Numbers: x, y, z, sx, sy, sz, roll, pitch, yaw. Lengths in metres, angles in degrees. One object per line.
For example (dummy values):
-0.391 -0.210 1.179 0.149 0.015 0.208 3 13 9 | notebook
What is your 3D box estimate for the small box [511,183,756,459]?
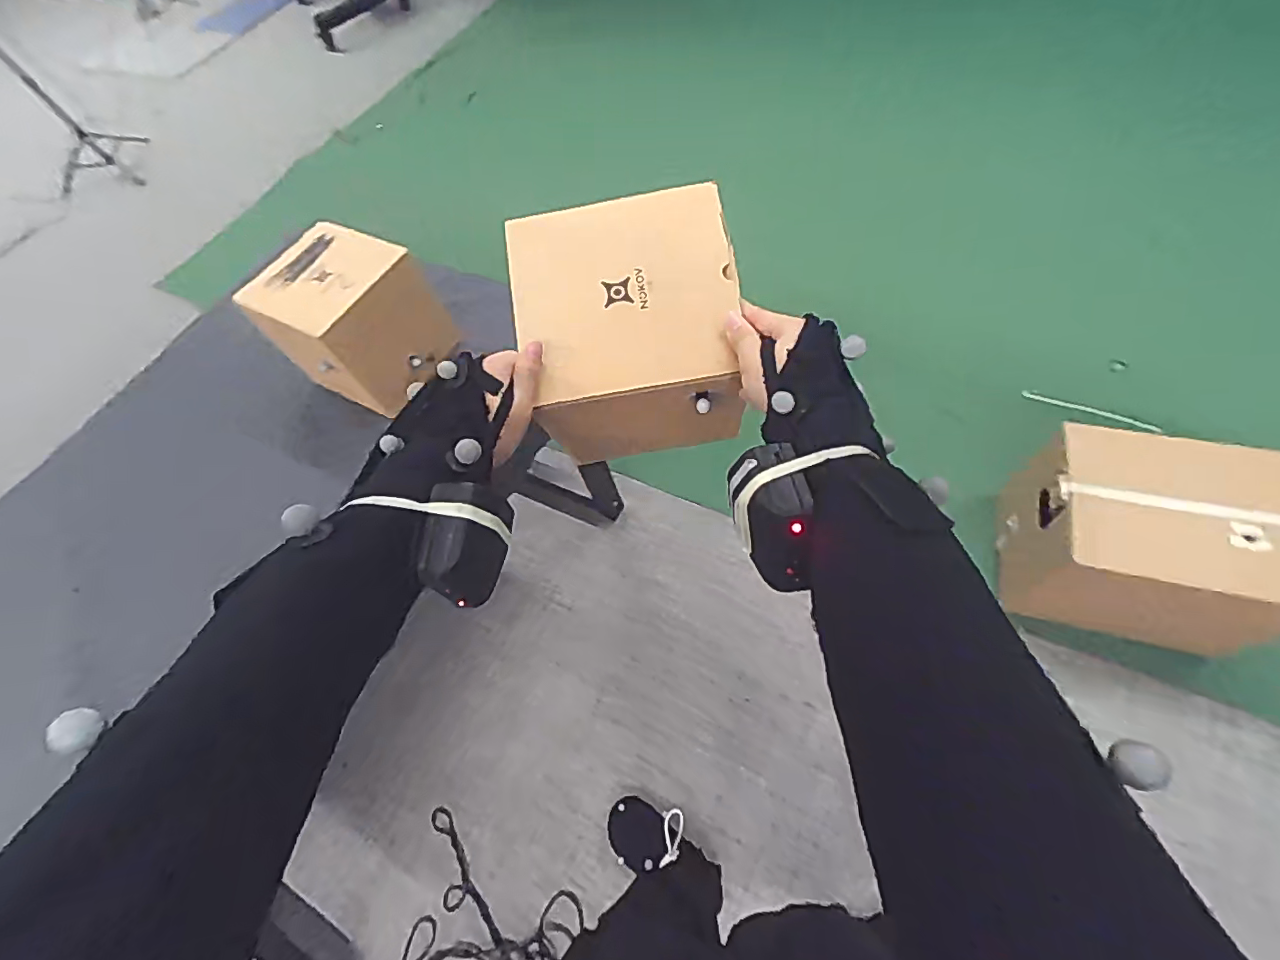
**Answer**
-0.003 -0.125 0.489 0.179 0.176 0.168 -8 76 3 | small box
